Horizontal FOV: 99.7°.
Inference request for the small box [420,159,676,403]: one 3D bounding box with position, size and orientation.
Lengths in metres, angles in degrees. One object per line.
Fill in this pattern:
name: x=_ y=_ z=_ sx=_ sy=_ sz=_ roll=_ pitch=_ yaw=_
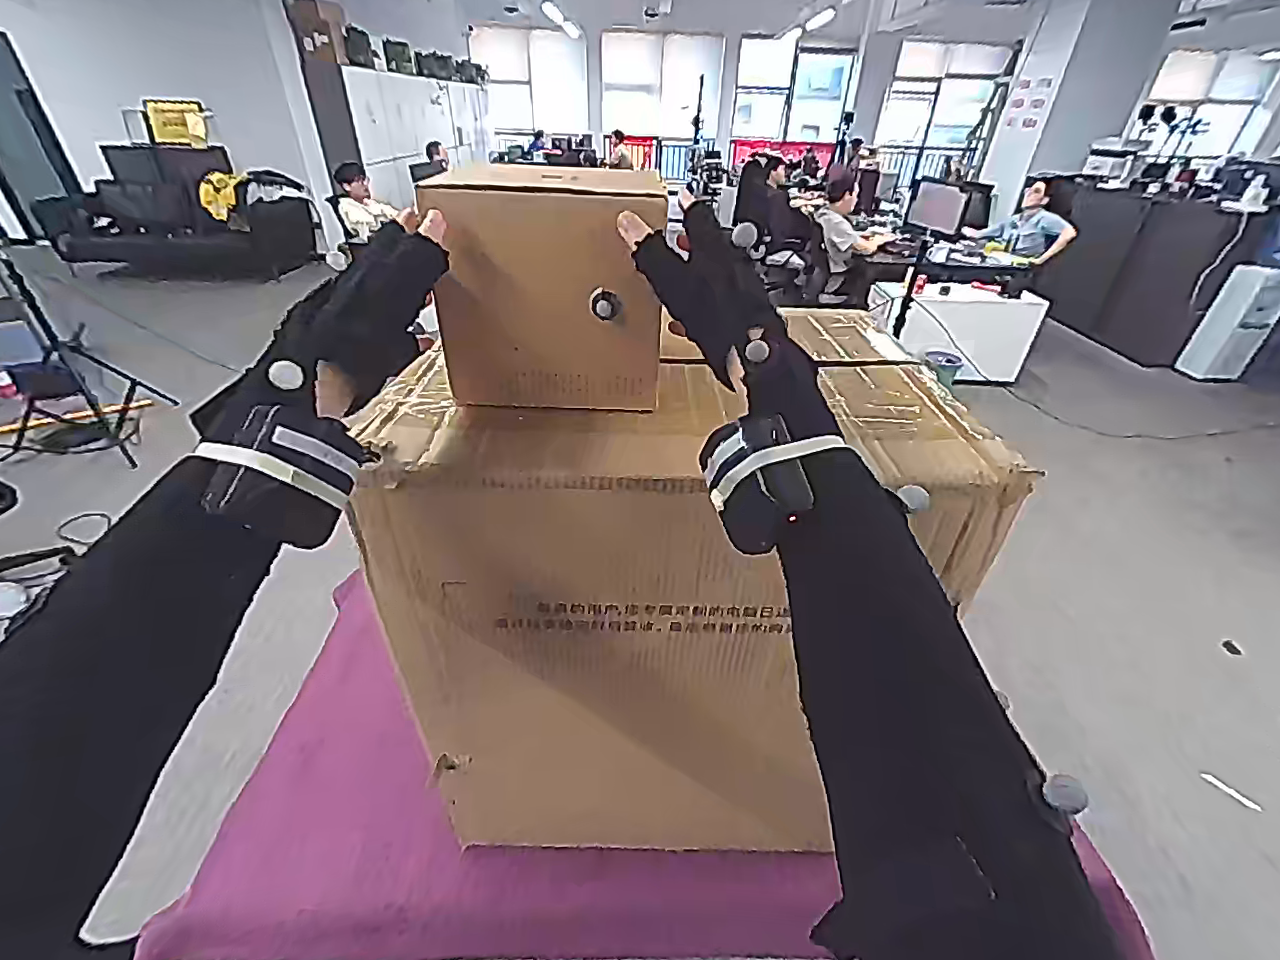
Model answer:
small box: x=-0.065 y=-0.176 z=0.476 sx=0.179 sy=0.176 sz=0.168 roll=1 pitch=33 yaw=-1
